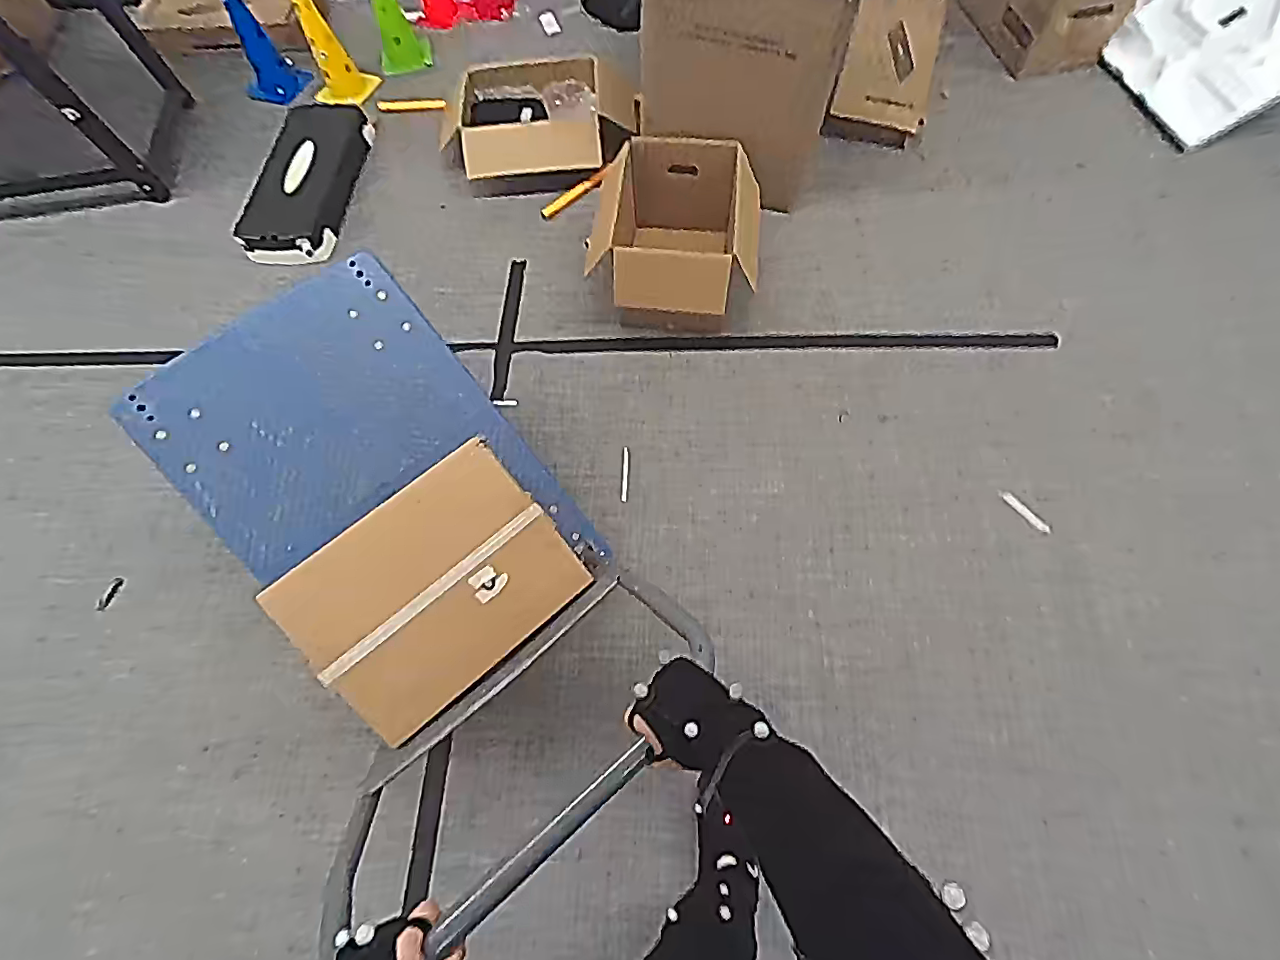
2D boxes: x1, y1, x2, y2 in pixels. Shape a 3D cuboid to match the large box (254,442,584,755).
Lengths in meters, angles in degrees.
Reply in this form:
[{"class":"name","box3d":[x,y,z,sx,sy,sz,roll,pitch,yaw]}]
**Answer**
[{"class":"large box","box3d":[-0.368,0.191,0.993,0.408,0.320,0.320,-41,97,-14]}]
